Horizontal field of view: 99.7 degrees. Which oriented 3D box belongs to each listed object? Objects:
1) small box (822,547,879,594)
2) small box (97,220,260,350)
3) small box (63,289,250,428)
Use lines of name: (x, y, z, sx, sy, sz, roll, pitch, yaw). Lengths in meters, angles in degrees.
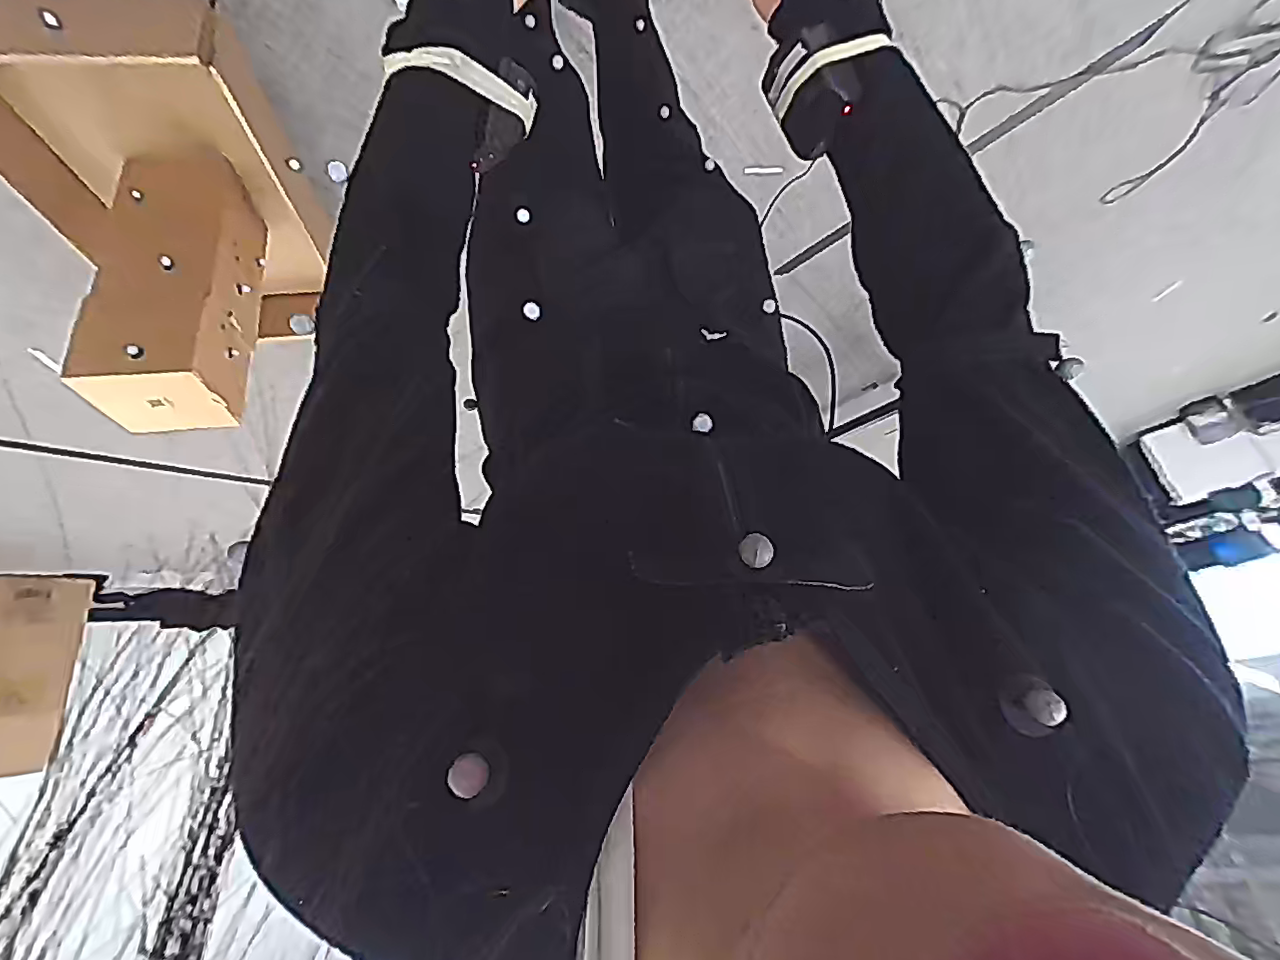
small box: (0.961, 0.414, 2.467, 0.168, 0.176, 0.179, -28, 153, 31)
small box: (-0.831, -0.354, 0.995, 0.179, 0.176, 0.168, -7, 156, -15)
small box: (-0.805, -0.208, 0.926, 0.179, 0.176, 0.168, -7, 157, -13)
